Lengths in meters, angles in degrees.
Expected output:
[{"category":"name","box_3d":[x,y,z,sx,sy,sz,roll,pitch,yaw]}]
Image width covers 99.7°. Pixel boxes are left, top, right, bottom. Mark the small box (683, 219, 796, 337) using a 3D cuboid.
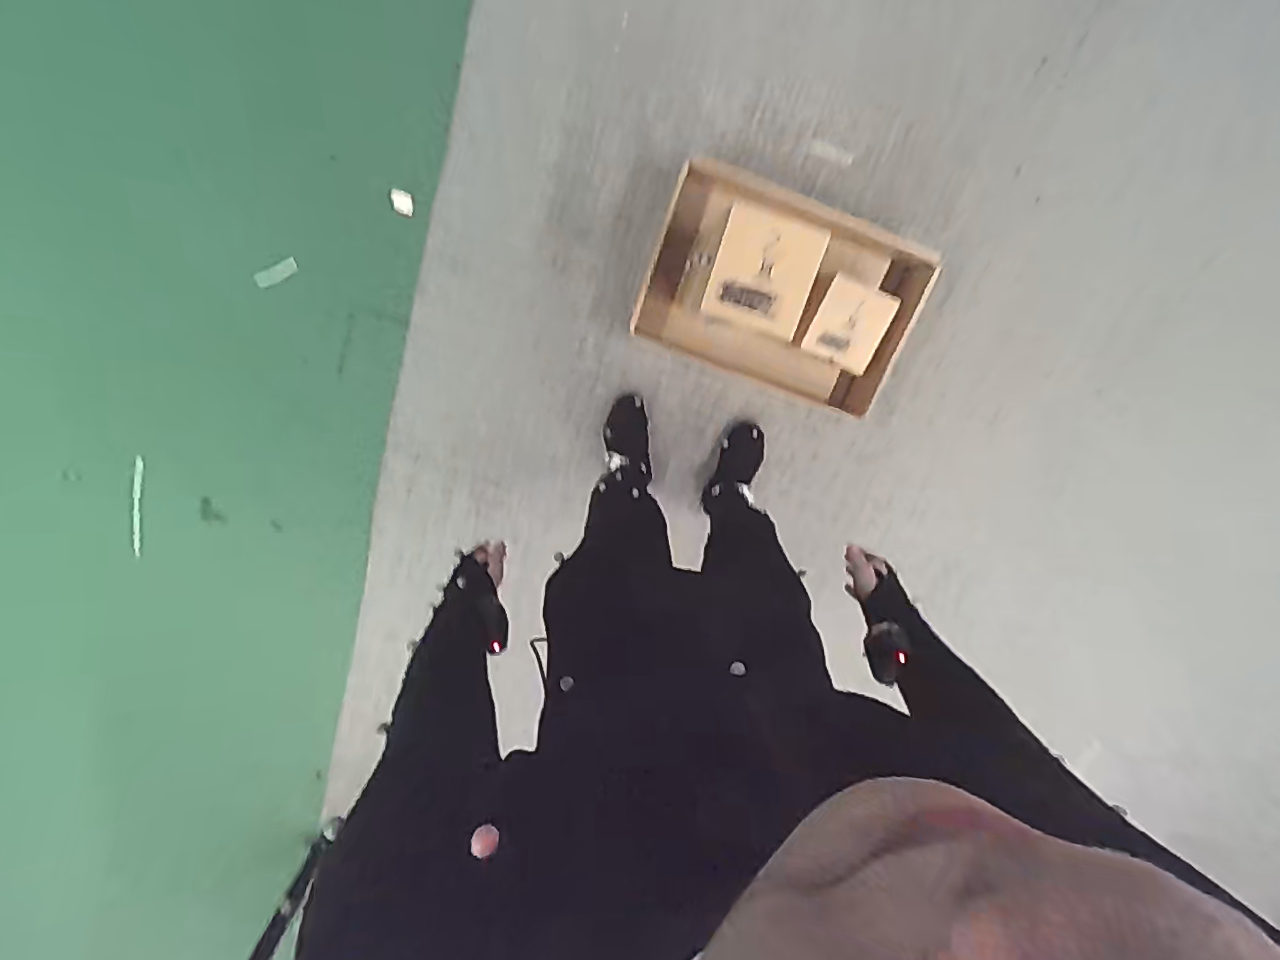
[{"category":"small box","box_3d":[0.191,-0.405,1.106,0.168,0.176,0.179,16,106,-6]}]
